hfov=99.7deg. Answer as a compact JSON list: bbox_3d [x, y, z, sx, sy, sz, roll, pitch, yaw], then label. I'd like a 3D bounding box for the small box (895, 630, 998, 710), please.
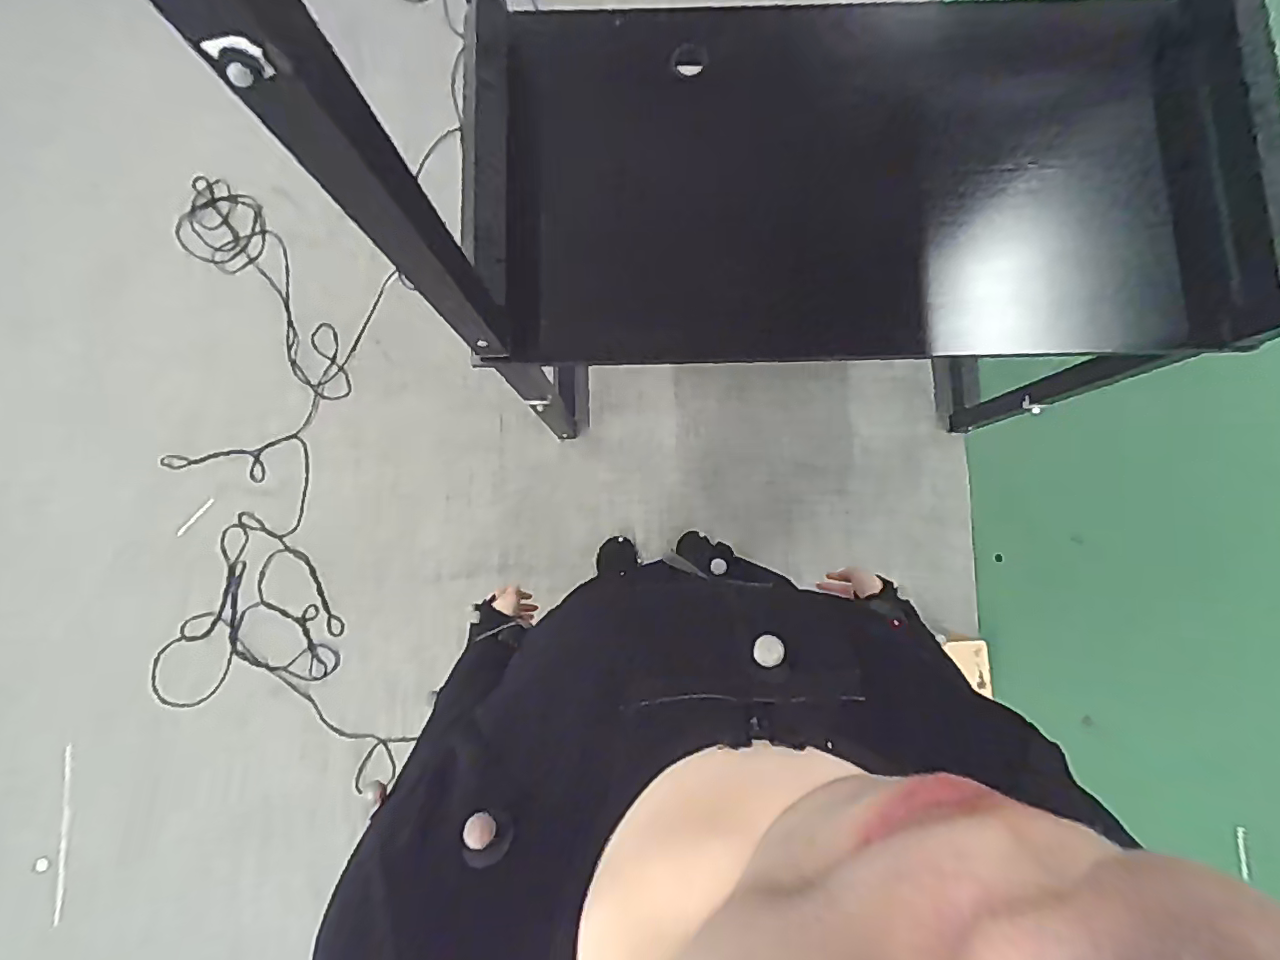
[{"bbox_3d":[0.774,0.481,1.386,0.179,0.176,0.168,-2,84,1],"label":"small box"}]
